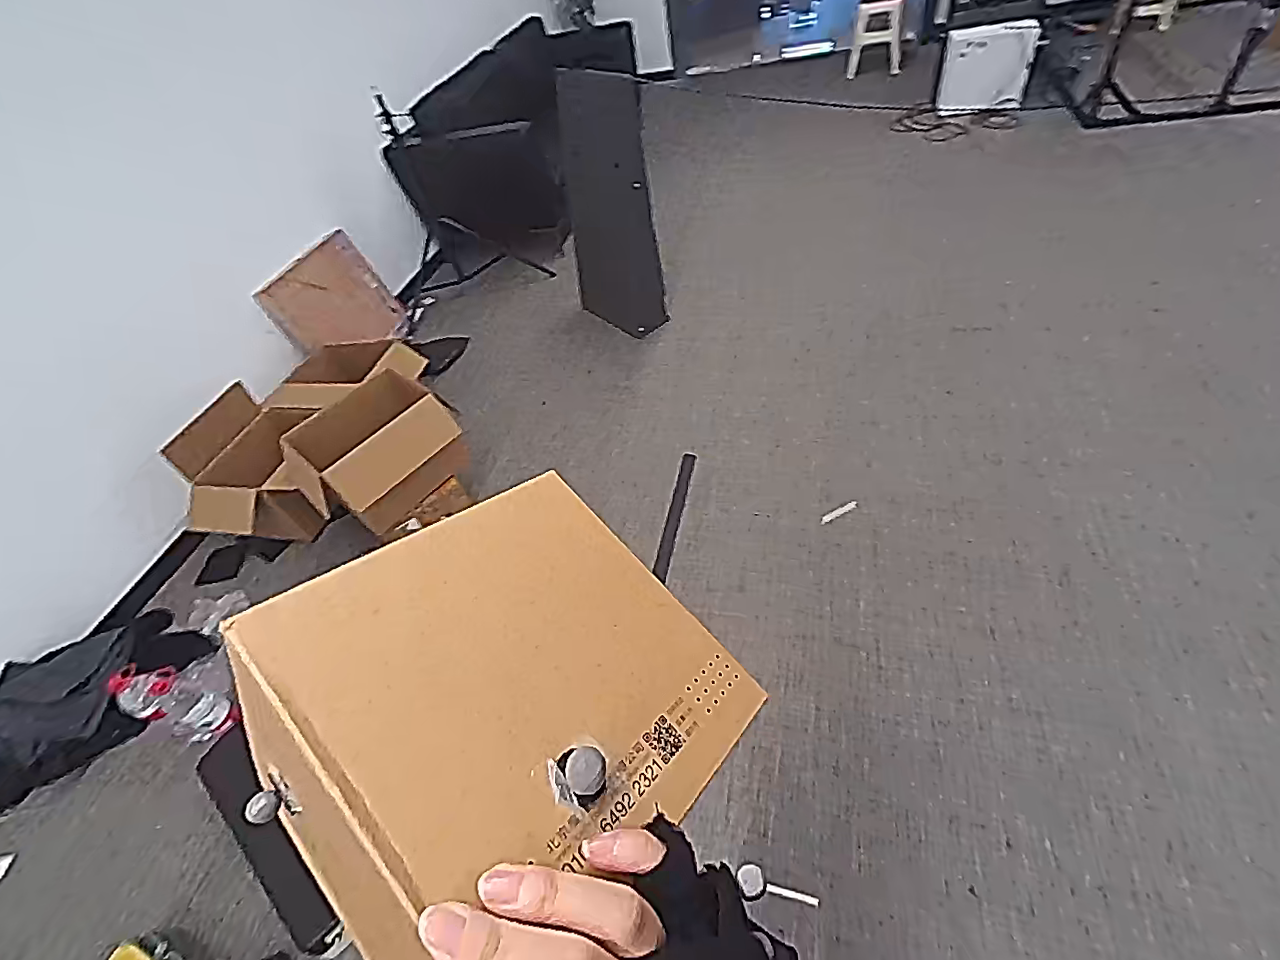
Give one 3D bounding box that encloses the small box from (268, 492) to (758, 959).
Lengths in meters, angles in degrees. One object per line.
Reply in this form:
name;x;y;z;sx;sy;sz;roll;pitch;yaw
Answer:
small box;-0.071;0.144;0.300;0.176;0.179;0.168;45;43;15
